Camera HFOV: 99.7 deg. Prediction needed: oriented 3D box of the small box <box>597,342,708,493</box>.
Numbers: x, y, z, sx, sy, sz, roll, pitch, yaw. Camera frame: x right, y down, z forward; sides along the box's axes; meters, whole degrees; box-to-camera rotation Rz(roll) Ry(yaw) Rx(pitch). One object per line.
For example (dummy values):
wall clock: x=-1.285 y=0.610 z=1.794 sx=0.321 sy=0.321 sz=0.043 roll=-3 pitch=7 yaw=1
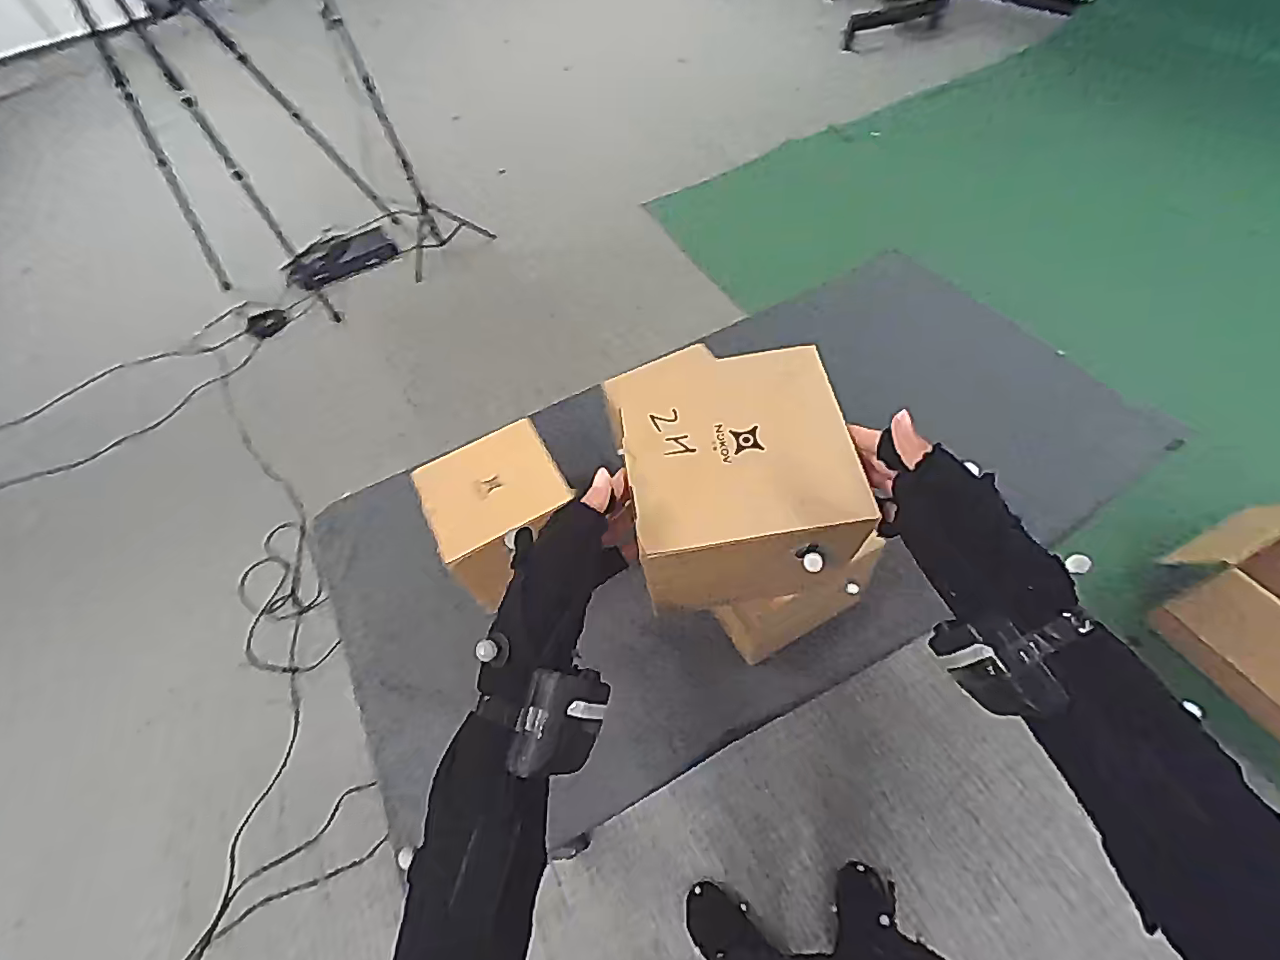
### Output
small box: x=0.054 y=-0.069 z=0.819 sx=0.168 sy=0.176 sz=0.179 roll=-24 pitch=56 yaw=-8

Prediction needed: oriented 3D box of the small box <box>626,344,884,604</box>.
small box: x=0.086 y=0.004 z=0.490 sx=0.179 sy=0.176 sz=0.168 roll=-8 pitch=61 yaw=1
